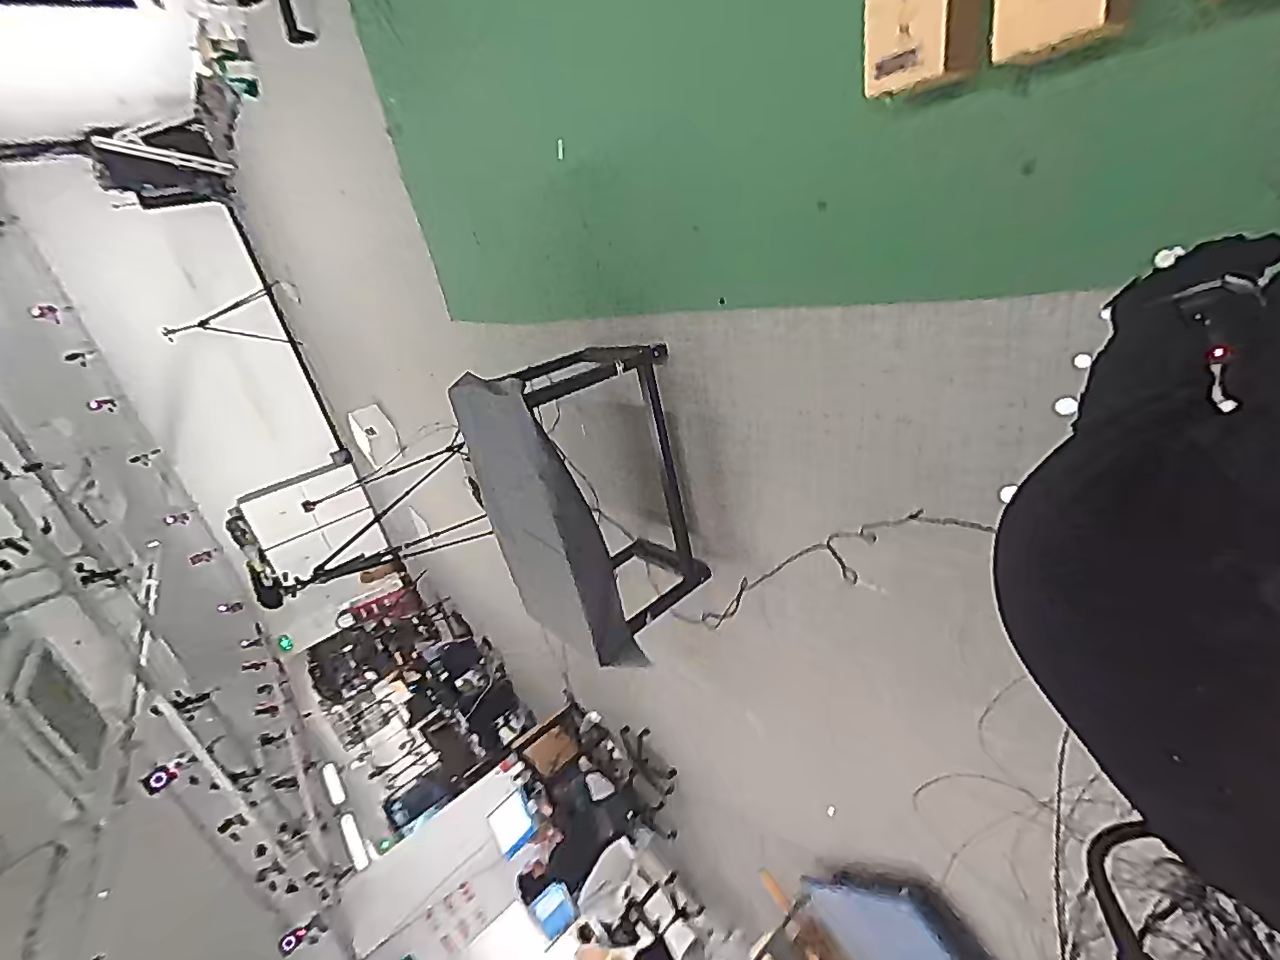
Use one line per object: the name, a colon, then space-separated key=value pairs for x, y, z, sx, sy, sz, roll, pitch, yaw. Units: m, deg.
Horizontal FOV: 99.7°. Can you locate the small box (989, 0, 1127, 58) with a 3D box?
small box: x=0.744 y=-0.880 z=0.956 sx=0.168 sy=0.176 sz=0.179 roll=15 pitch=127 yaw=48
